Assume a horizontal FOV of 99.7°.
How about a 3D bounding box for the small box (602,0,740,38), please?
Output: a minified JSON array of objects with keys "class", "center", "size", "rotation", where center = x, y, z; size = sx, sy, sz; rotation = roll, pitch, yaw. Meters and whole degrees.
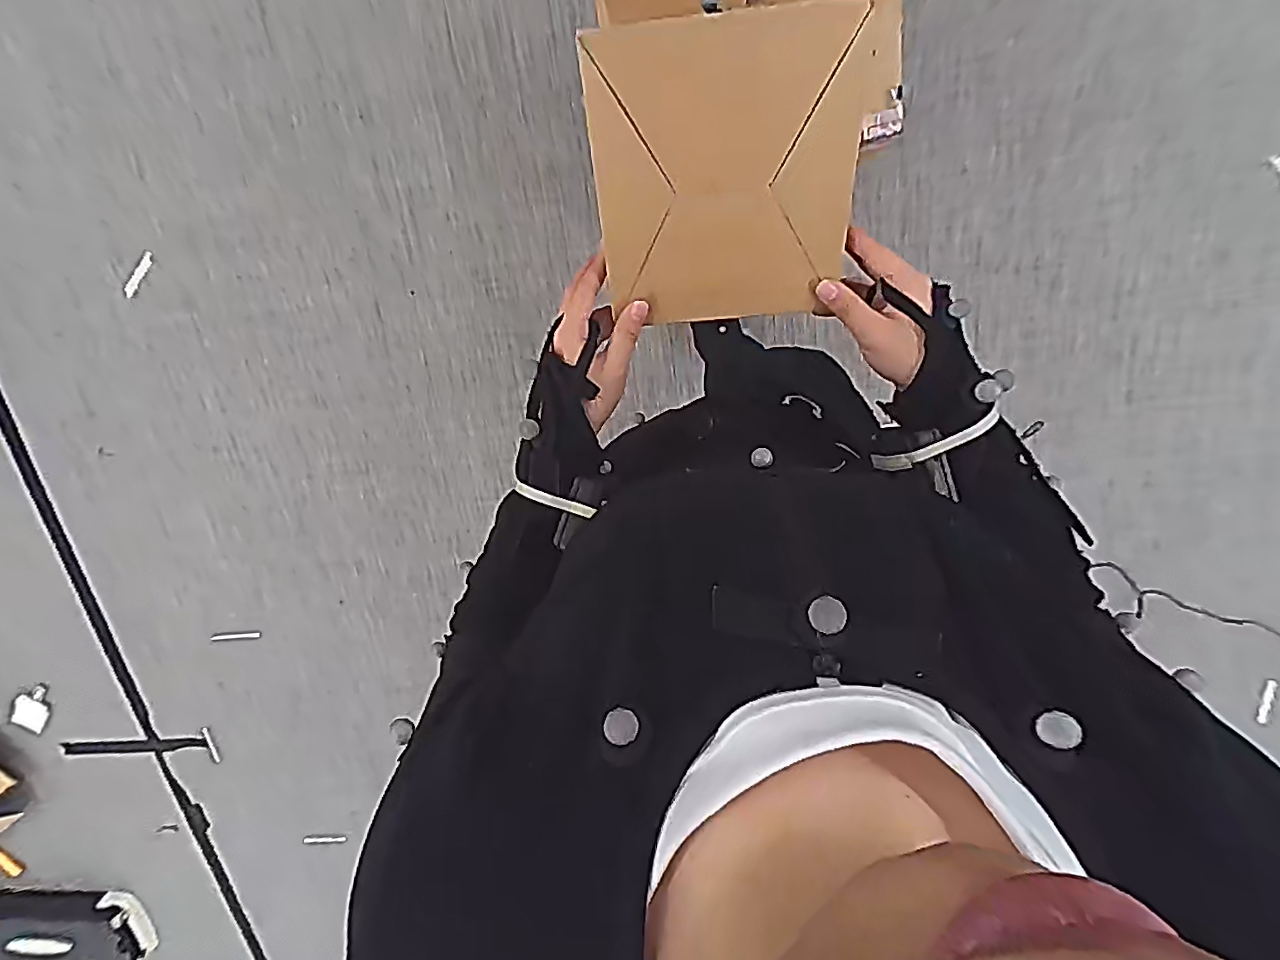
[{"class":"small box","center":[0.033,-0.645,0.611],"size":[0.179,0.176,0.168],"rotation":[-5,107,8]}]
